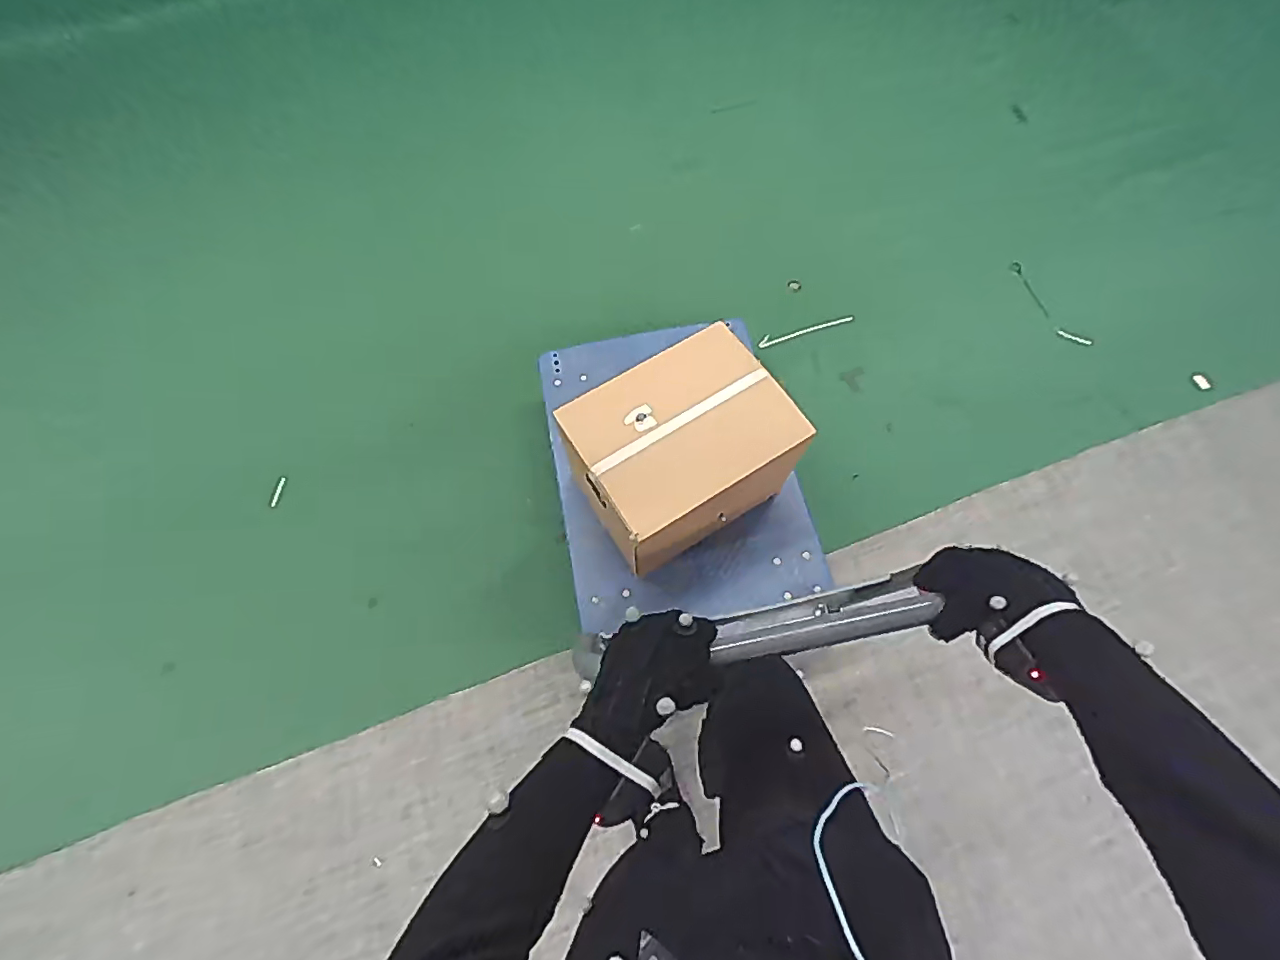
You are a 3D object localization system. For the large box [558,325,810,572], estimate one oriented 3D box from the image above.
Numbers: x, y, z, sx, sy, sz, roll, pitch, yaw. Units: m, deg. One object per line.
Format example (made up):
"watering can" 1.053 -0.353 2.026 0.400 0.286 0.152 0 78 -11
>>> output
"large box" 0.087 -0.054 1.185 0.408 0.320 0.320 -31 71 -11
